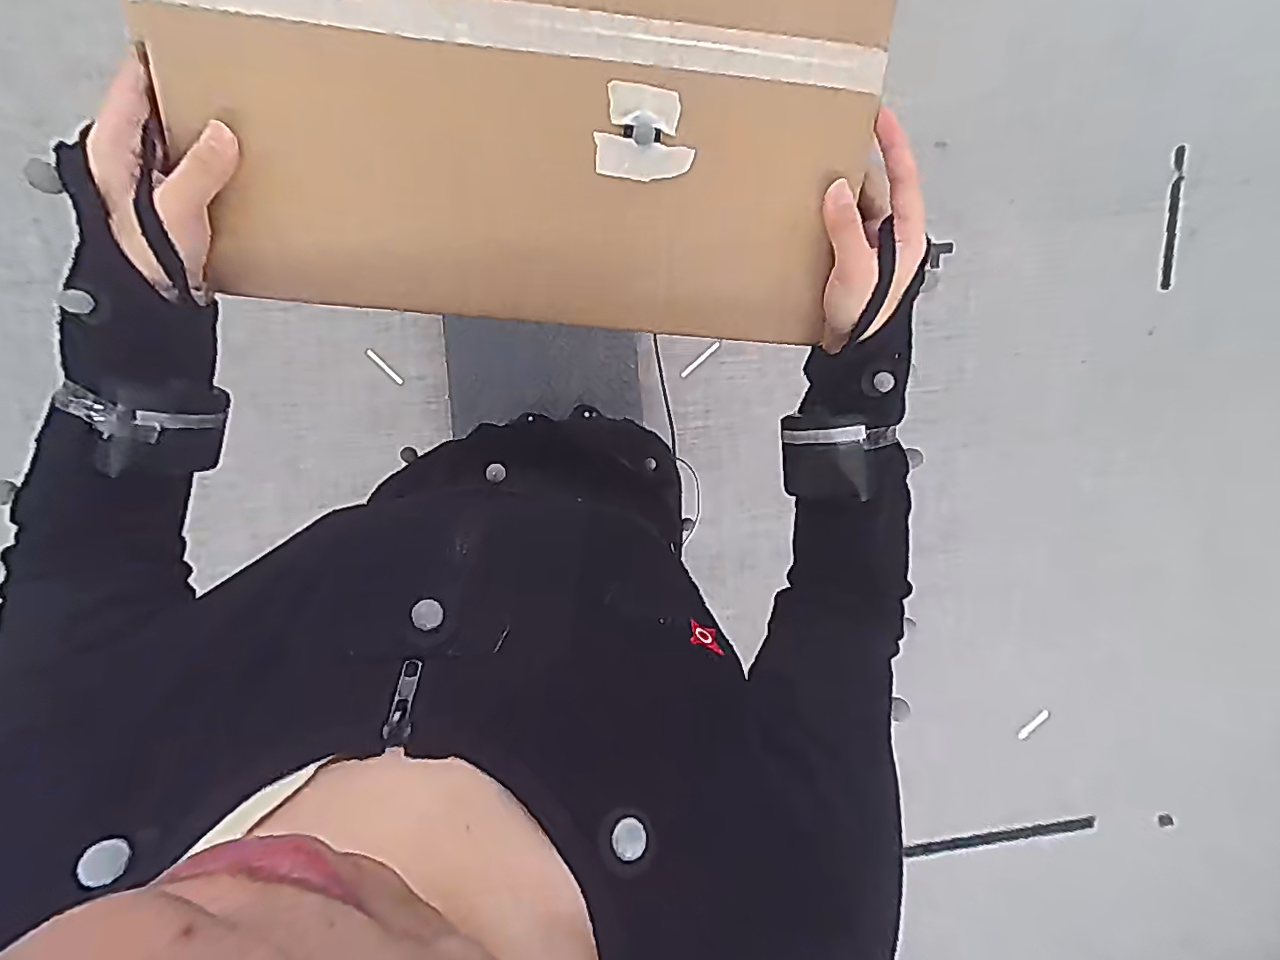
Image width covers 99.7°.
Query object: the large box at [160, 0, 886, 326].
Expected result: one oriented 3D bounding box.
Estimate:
[{"bbox_3d":[-0.070,-0.315,0.440,0.408,0.320,0.320,3,114,-6],"label":"large box"}]
